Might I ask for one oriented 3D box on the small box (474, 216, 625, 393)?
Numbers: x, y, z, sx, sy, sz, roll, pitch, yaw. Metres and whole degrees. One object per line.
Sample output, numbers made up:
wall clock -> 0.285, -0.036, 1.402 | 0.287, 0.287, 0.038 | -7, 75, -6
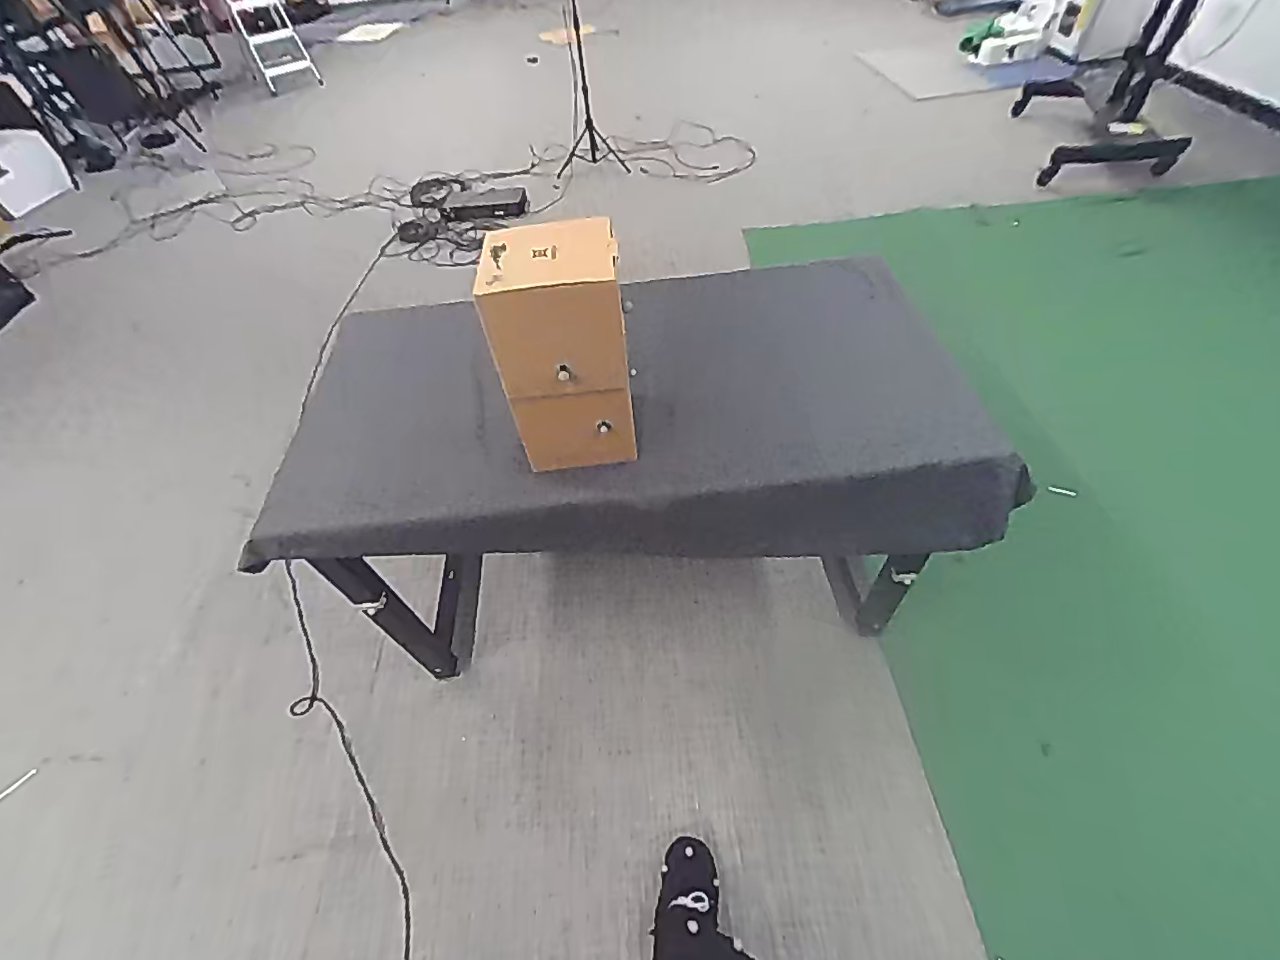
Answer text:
small box -> -0.112, -0.240, 0.754 | 0.179, 0.176, 0.168 | -6, 50, 0

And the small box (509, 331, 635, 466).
small box -> -0.102, -0.142, 0.884 | 0.179, 0.176, 0.168 | -8, 50, 2
